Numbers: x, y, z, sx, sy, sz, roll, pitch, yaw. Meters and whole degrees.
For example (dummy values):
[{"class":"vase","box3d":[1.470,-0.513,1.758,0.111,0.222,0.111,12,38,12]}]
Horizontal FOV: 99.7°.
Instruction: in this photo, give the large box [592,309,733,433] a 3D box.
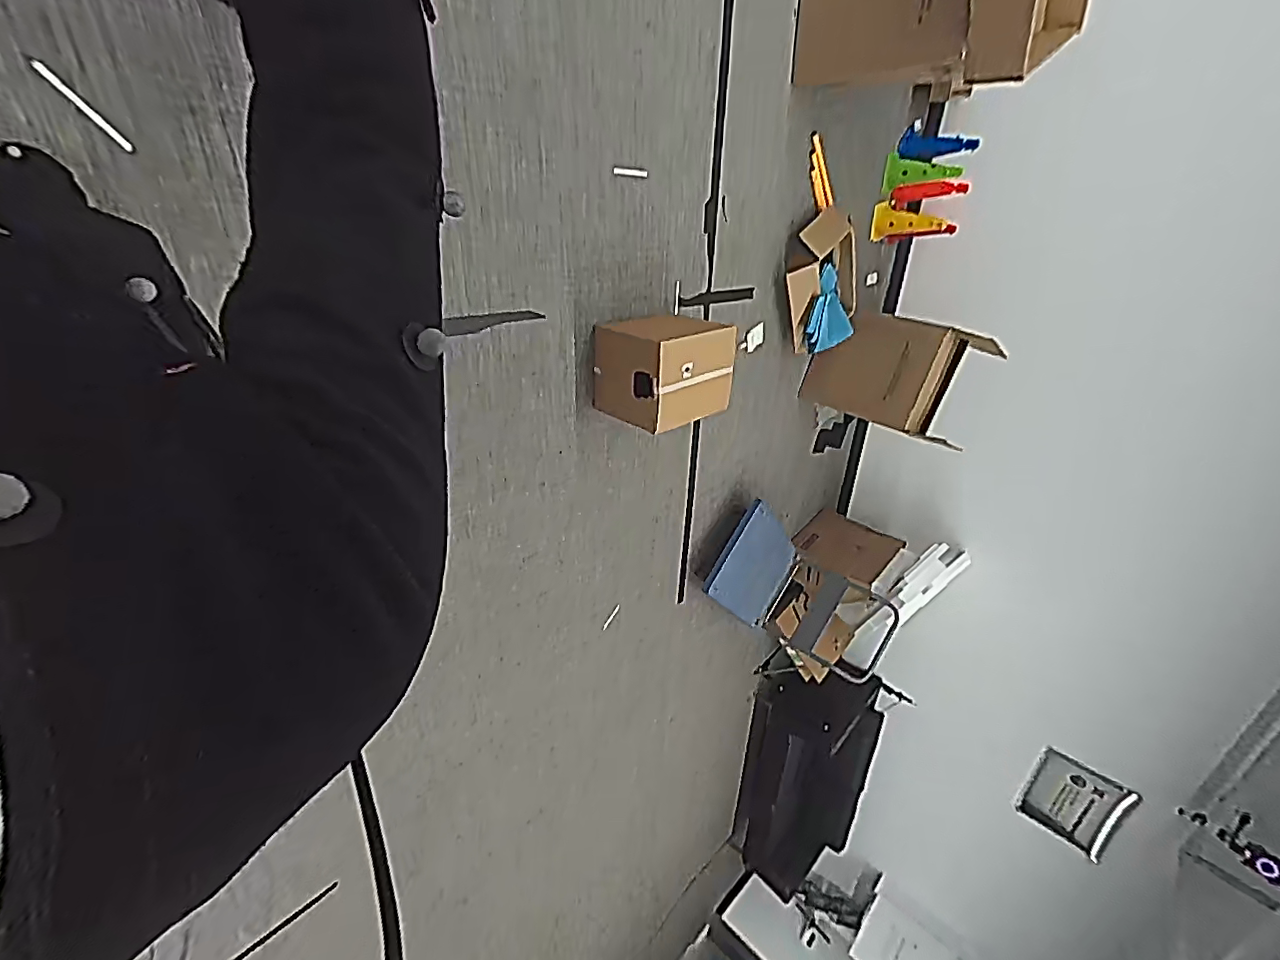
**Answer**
[{"class":"large box","box3d":[0.077,-0.406,1.929,0.408,0.320,0.320,-24,127,-39]}]
